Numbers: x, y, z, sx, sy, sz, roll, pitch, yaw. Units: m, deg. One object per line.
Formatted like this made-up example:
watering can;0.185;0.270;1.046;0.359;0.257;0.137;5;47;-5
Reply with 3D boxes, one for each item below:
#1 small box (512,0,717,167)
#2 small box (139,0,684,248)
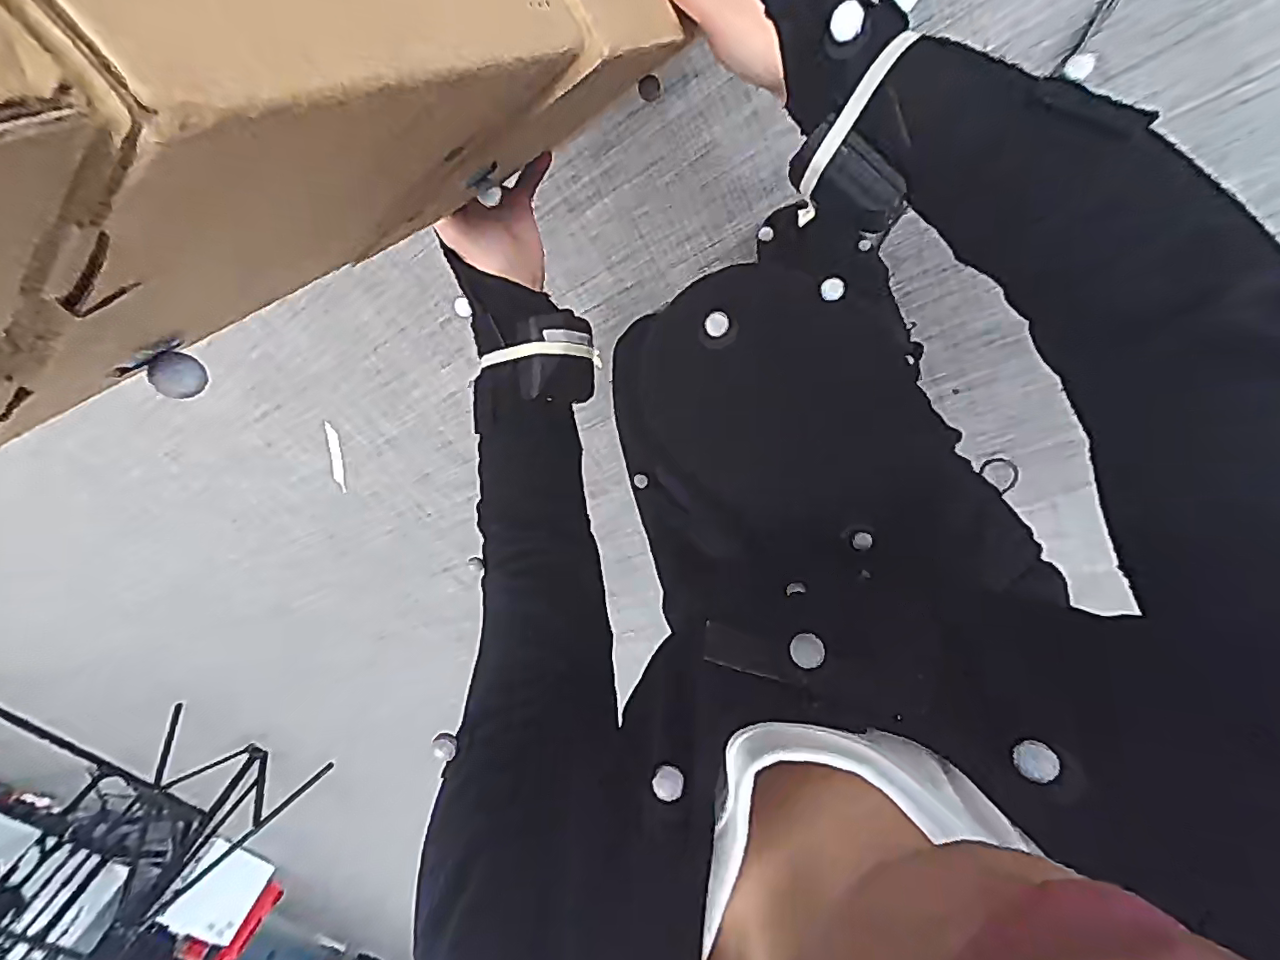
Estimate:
small box;-0.059;-0.353;0.371;0.179;0.176;0.168;-17;122;32
small box;-0.098;-0.246;0.253;0.179;0.176;0.168;-17;123;30
